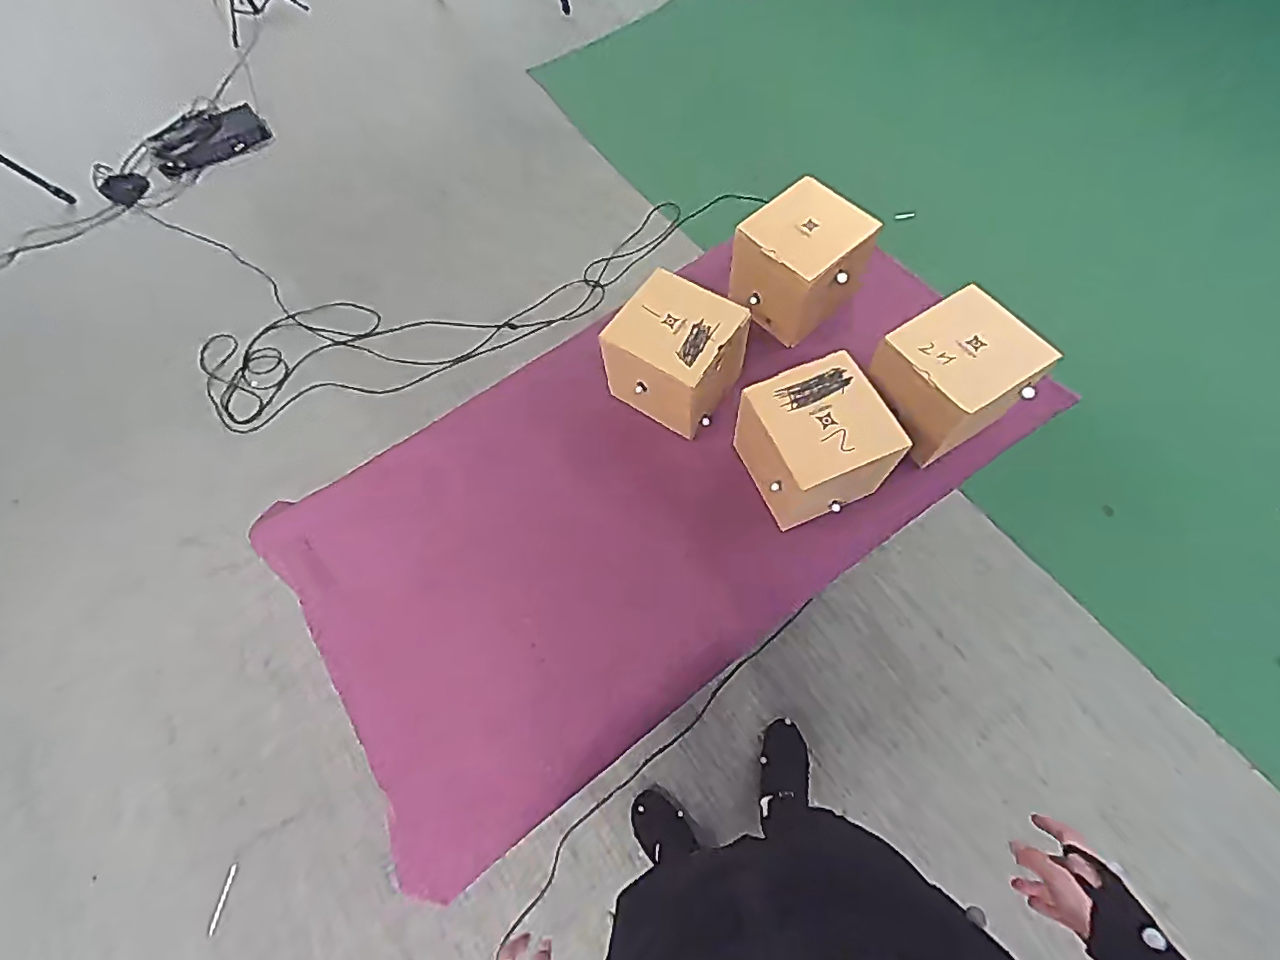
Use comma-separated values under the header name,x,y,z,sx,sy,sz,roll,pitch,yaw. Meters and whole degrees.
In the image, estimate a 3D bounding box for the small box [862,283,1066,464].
name,x,y,z,sx,sy,sz,roll,pitch,yaw
small box,0.476,-0.156,0.828,0.179,0.176,0.168,-31,66,-7

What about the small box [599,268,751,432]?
name,x,y,z,sx,sy,sz,roll,pitch,yaw
small box,0.059,-0.203,0.890,0.179,0.176,0.168,32,73,17

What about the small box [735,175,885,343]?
name,x,y,z,sx,sy,sz,roll,pitch,yaw
small box,0.283,-0.380,0.946,0.179,0.176,0.168,-40,70,-10
